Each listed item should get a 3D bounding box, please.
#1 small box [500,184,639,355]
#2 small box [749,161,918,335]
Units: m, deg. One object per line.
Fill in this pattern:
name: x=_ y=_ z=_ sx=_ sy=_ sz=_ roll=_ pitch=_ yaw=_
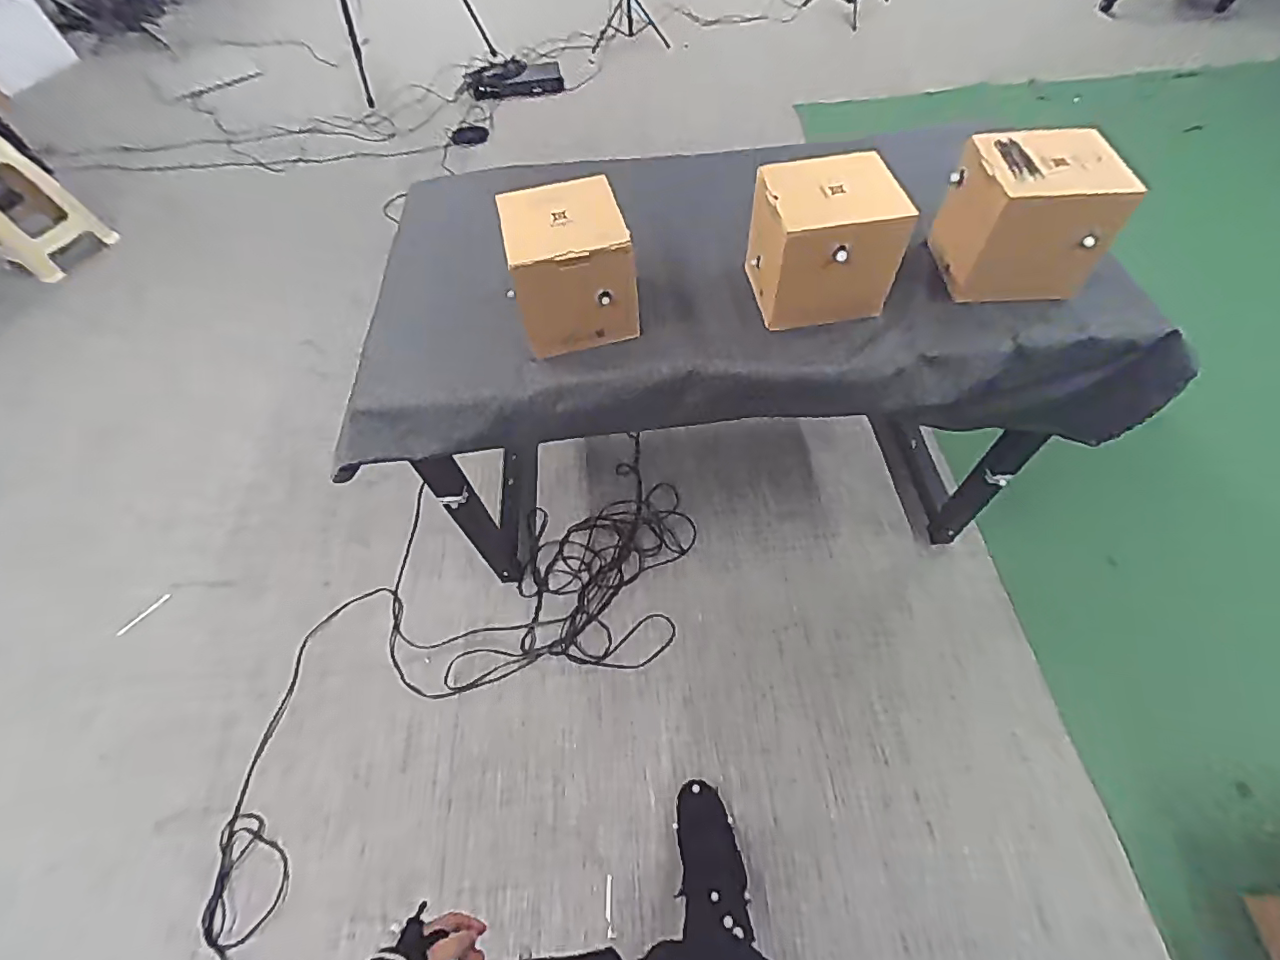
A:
small box: x=-0.101 y=-0.306 z=0.812 sx=0.168 sy=0.176 sz=0.179 roll=-13 pitch=56 yaw=-6
small box: x=0.273 y=-0.341 z=0.808 sx=0.179 sy=0.176 sz=0.168 roll=-8 pitch=57 yaw=0
